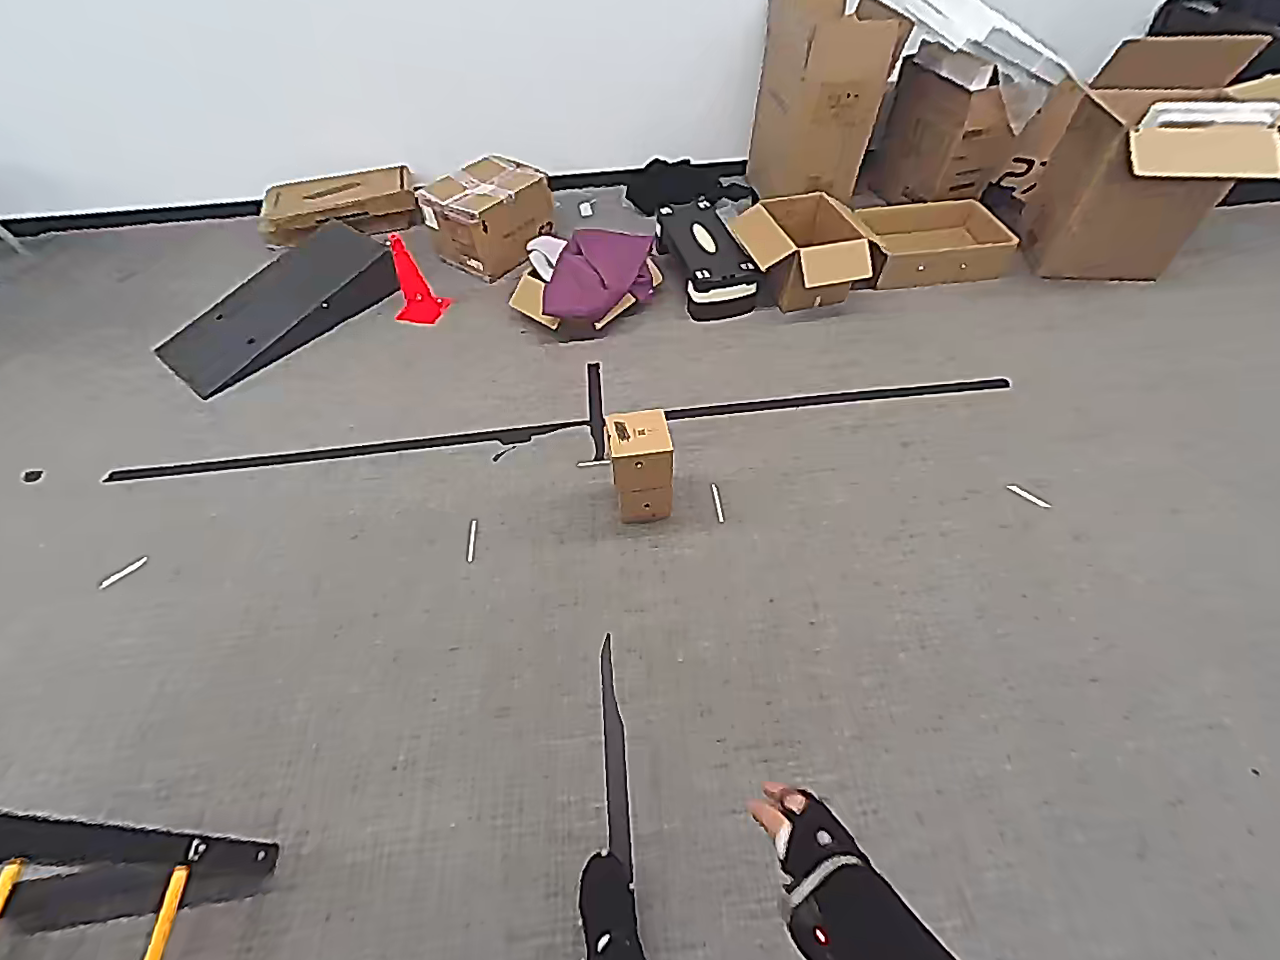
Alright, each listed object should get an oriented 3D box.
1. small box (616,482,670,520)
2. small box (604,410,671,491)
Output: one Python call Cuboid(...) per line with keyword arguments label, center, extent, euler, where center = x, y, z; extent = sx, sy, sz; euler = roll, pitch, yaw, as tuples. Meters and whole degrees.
Cuboid(label="small box", center=(0.004, 0.016, 1.733), extent=(0.168, 0.176, 0.179), euler=(-8, 53, -4))
Cuboid(label="small box", center=(-0.006, -0.081, 1.599), extent=(0.179, 0.176, 0.168), euler=(-7, 53, -5))
